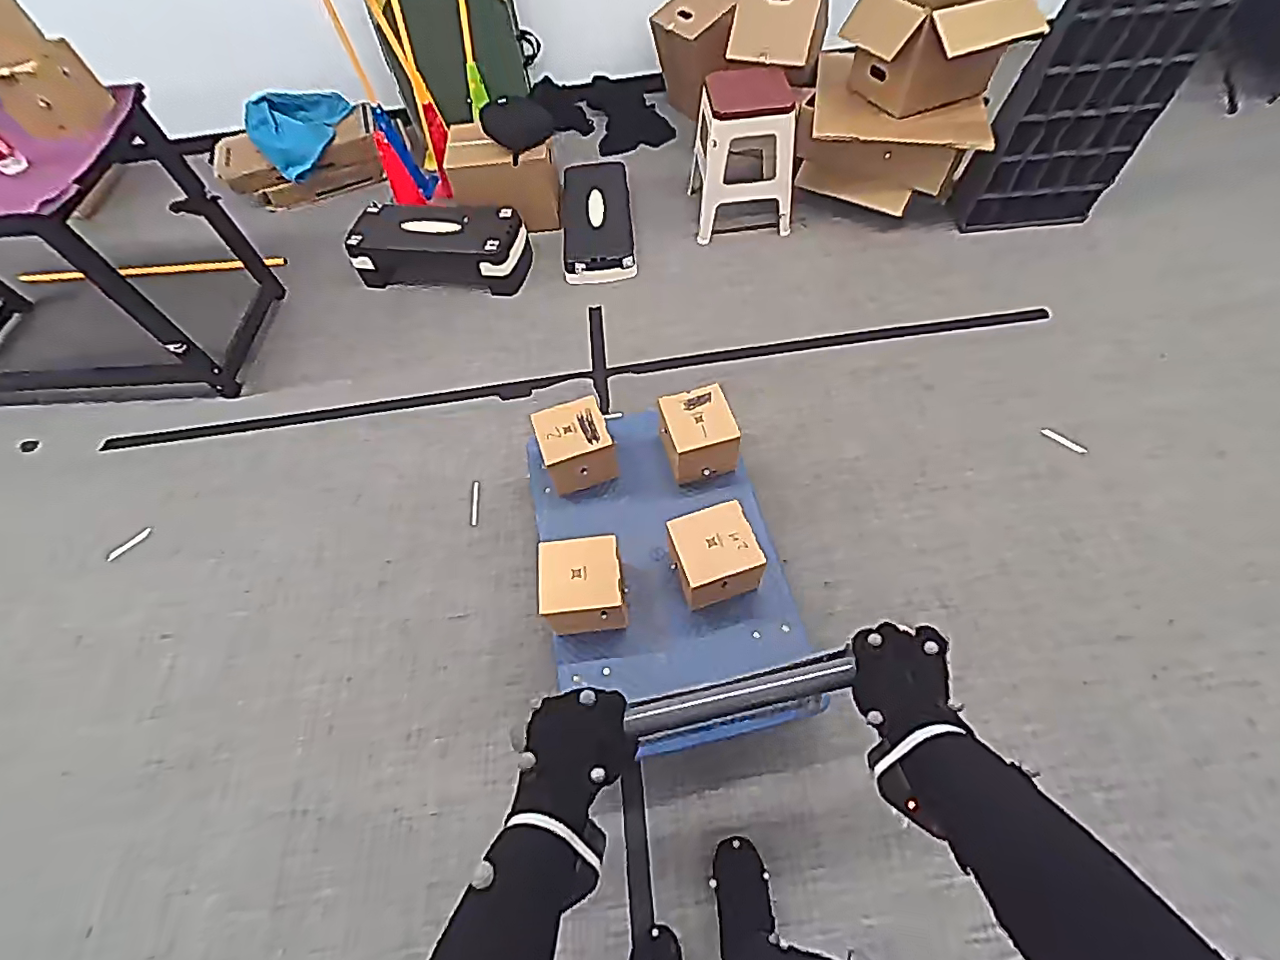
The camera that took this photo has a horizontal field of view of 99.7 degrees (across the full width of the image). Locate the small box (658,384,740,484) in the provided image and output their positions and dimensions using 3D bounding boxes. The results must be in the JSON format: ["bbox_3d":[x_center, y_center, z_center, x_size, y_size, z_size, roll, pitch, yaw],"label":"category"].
[{"bbox_3d":[0.147,-0.118,1.414,0.168,0.176,0.179,-15,61,-4],"label":"small box"}]

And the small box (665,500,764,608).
[{"bbox_3d":[0.167,0.175,1.244,0.179,0.176,0.168,-18,61,-6],"label":"small box"}]

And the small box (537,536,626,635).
[{"bbox_3d":[-0.130,0.244,1.228,0.179,0.176,0.168,-6,60,-1],"label":"small box"}]
